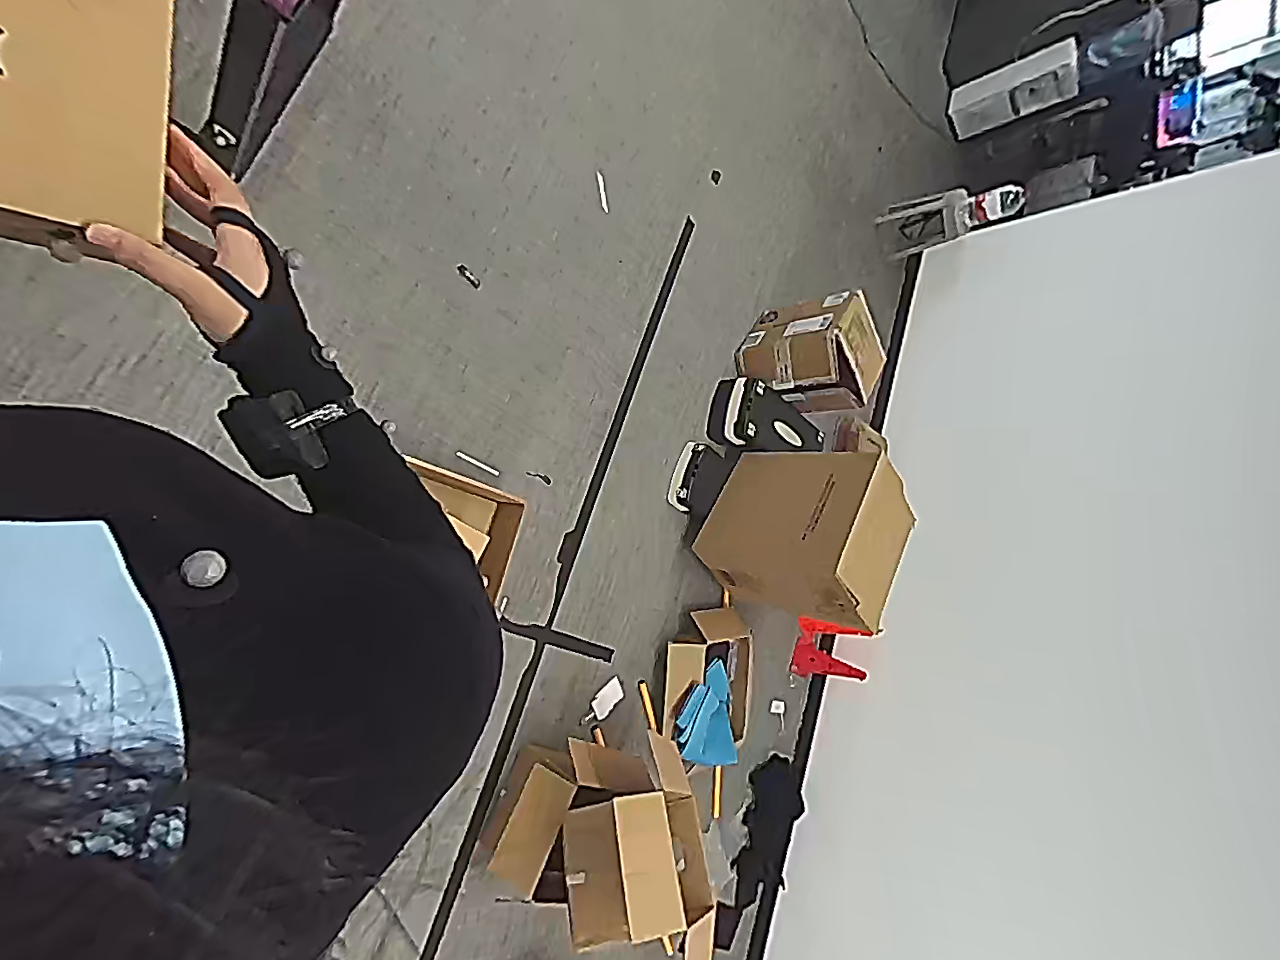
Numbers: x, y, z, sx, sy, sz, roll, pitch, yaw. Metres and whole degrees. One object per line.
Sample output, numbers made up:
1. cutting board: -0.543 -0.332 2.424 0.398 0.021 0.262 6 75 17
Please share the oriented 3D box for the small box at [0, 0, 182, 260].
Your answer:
1. small box: -0.409 -0.248 0.336 0.179 0.176 0.168 3 98 -43
